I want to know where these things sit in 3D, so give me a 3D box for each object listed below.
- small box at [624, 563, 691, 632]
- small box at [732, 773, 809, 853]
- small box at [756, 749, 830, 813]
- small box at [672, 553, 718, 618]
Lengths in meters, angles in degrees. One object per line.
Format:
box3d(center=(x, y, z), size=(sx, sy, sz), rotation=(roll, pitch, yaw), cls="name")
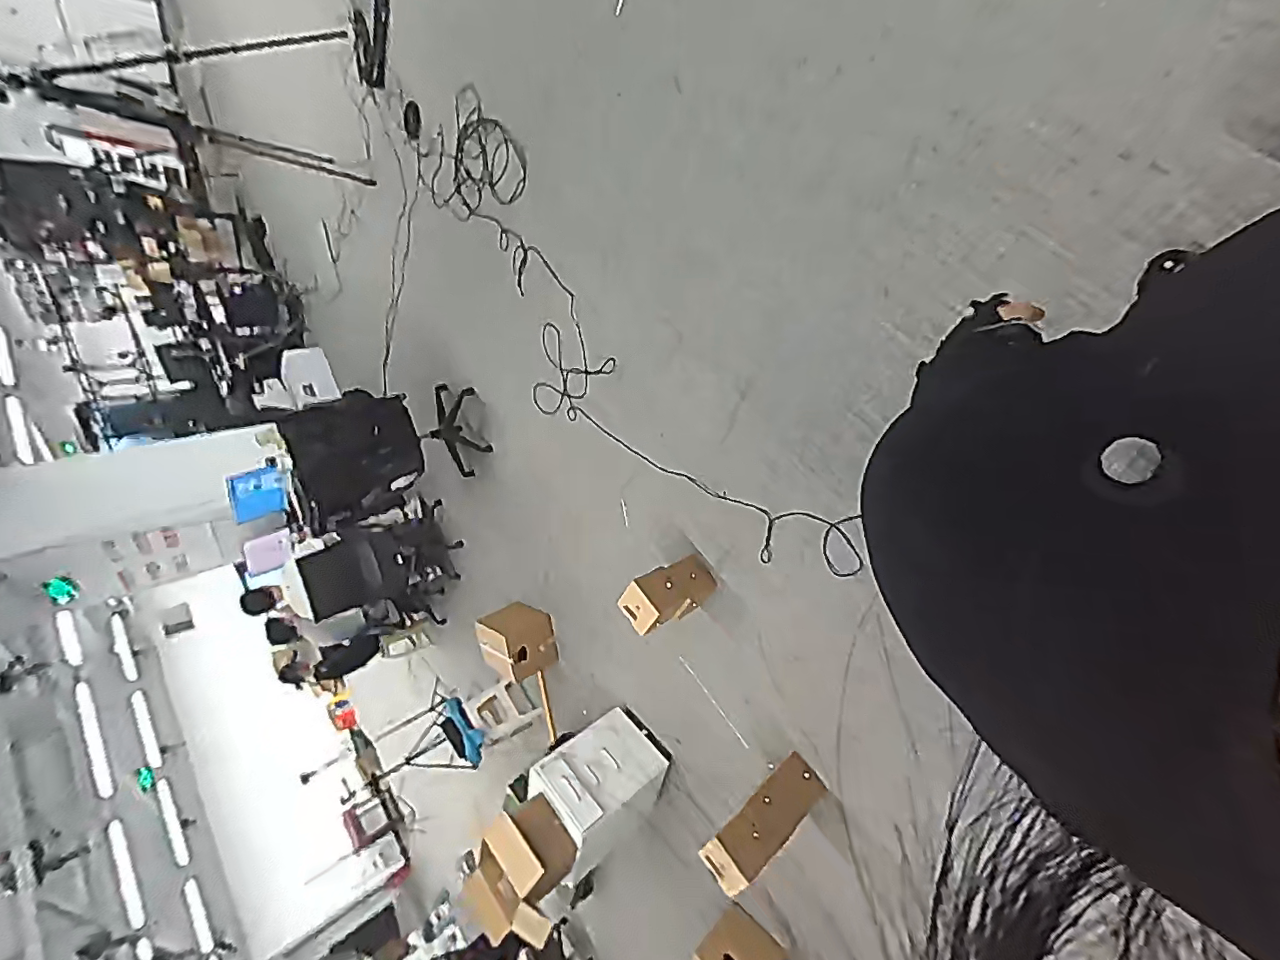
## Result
box3d(center=(0.070, 0.456, 2.112), size=(0.168, 0.176, 0.179), rotation=(49, 135, 22), cls="small box")
box3d(center=(0.477, 1.208, 1.979), size=(0.179, 0.176, 0.168), rotation=(46, 137, 24), cls="small box")
box3d(center=(0.592, 1.172, 2.089), size=(0.179, 0.176, 0.168), rotation=(49, 137, 23), cls="small box")
box3d(center=(0.196, 0.428, 2.215), size=(0.168, 0.176, 0.179), rotation=(49, 136, 24), cls="small box")
